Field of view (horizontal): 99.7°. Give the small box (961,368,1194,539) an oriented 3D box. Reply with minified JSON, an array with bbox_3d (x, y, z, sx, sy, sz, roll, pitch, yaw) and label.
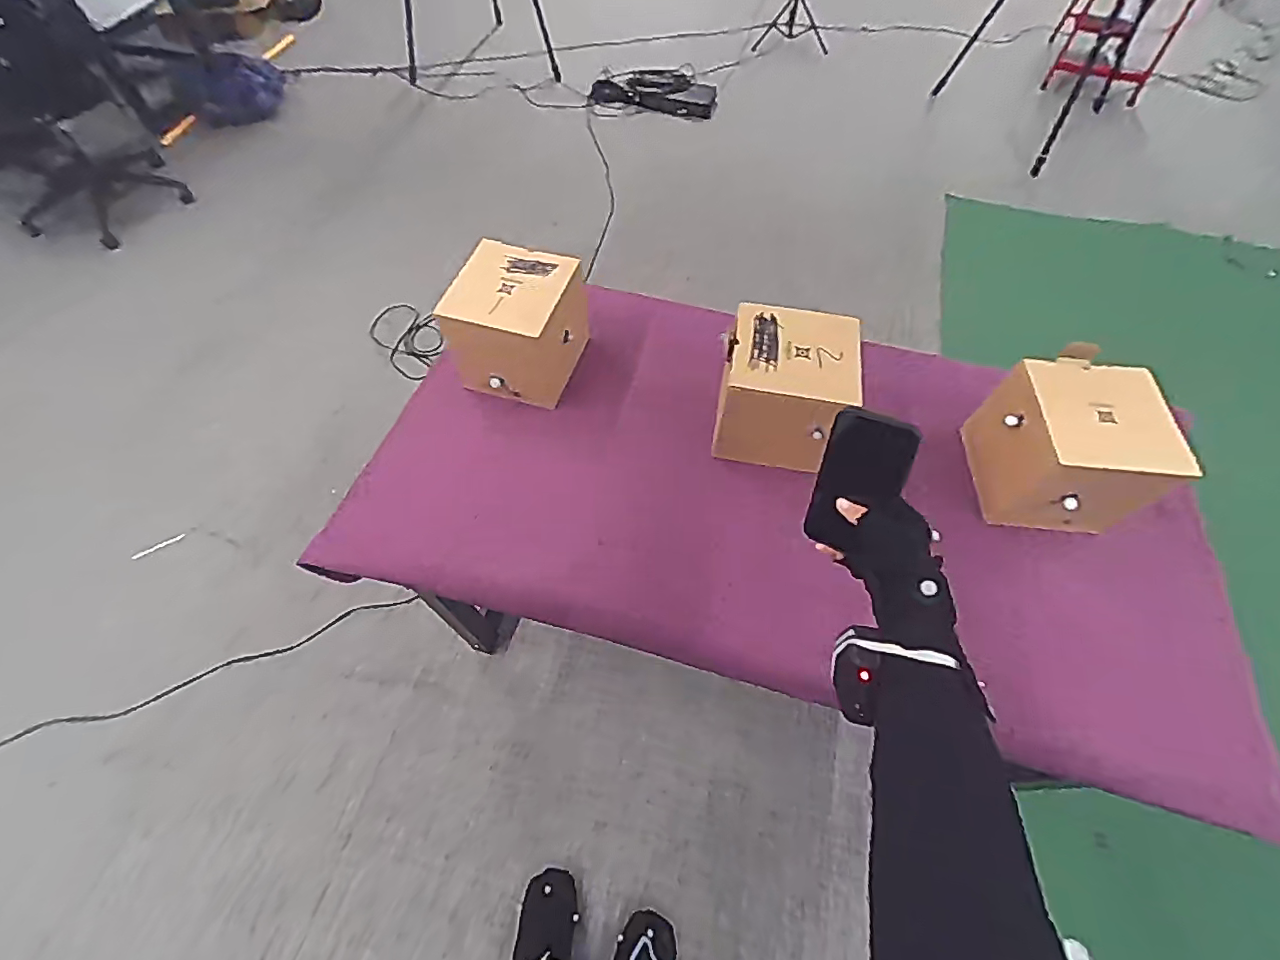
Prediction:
[{"bbox_3d":[0.585,-0.031,0.756,0.168,0.176,0.179,5,58,3],"label":"small box"}]

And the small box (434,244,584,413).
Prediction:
[{"bbox_3d":[-0.195,-0.238,0.866,0.168,0.176,0.179,15,61,8],"label":"small box"}]
